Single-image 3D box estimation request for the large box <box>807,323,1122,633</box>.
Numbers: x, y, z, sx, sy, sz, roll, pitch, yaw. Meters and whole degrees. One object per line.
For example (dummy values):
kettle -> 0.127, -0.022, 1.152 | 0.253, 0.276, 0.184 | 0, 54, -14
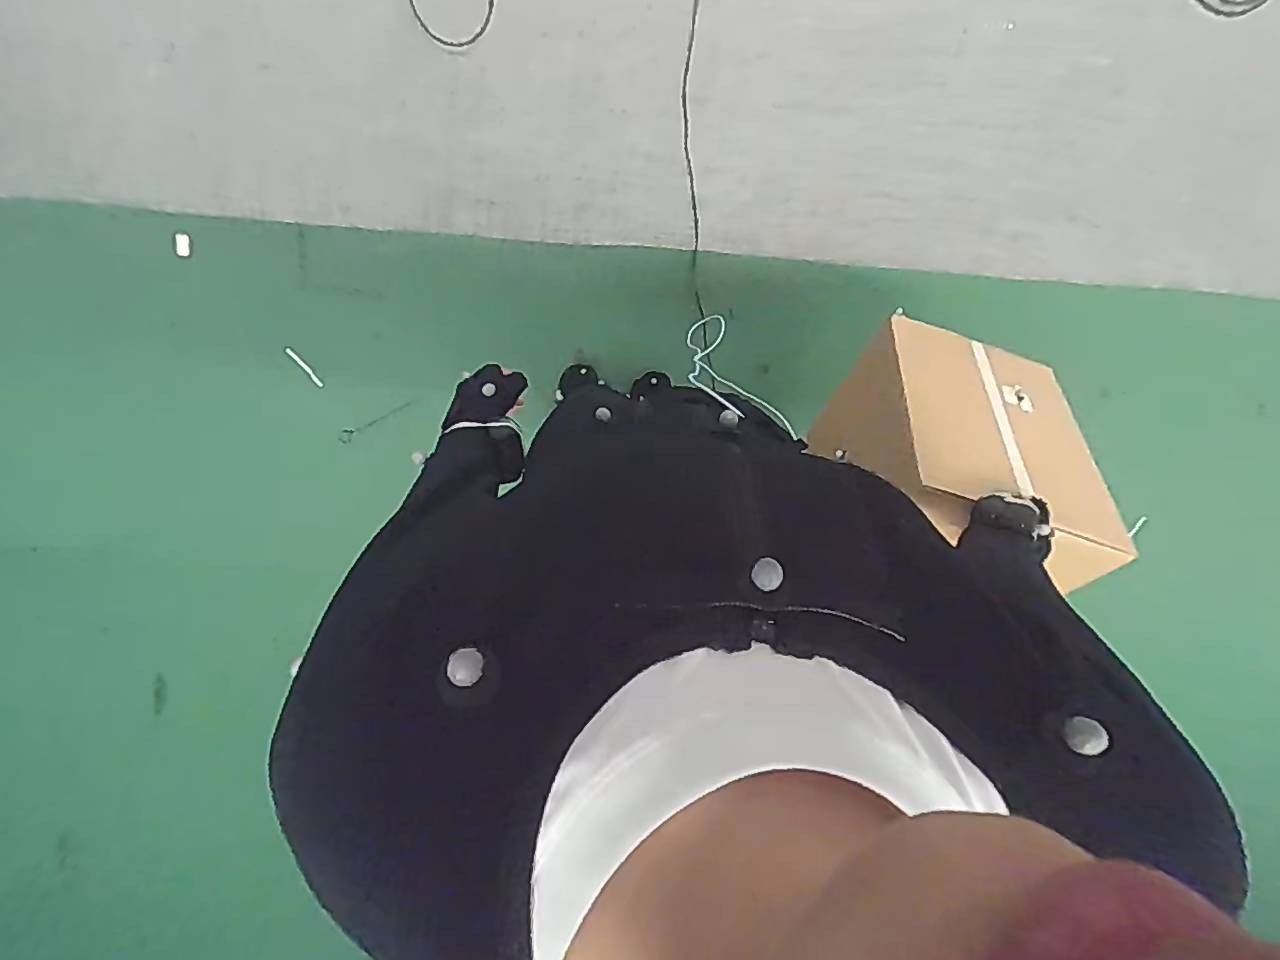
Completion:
large box -> 0.507, -0.001, 0.957 | 0.320, 0.408, 0.320 | 18, 140, -3
